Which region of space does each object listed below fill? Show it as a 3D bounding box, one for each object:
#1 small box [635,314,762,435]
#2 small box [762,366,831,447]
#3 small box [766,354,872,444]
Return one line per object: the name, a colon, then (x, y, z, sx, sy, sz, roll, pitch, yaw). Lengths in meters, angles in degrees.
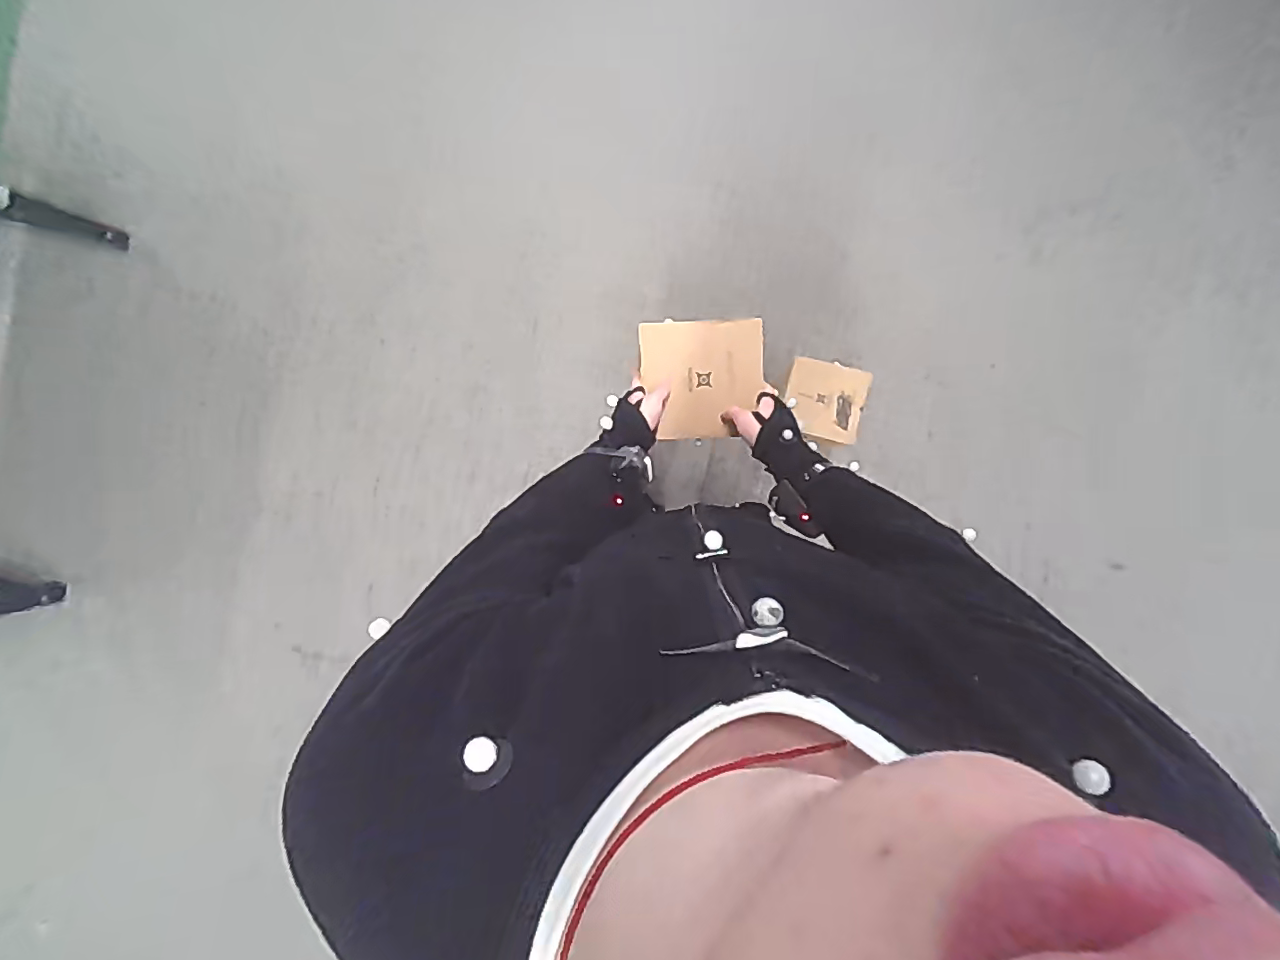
small box: (0.087, -0.159, 0.847, 0.179, 0.176, 0.168, -3, 99, 1)
small box: (0.434, -0.194, 1.446, 0.168, 0.176, 0.179, 16, 95, 2)
small box: (0.415, -0.186, 1.282, 0.179, 0.176, 0.168, 15, 94, 4)
